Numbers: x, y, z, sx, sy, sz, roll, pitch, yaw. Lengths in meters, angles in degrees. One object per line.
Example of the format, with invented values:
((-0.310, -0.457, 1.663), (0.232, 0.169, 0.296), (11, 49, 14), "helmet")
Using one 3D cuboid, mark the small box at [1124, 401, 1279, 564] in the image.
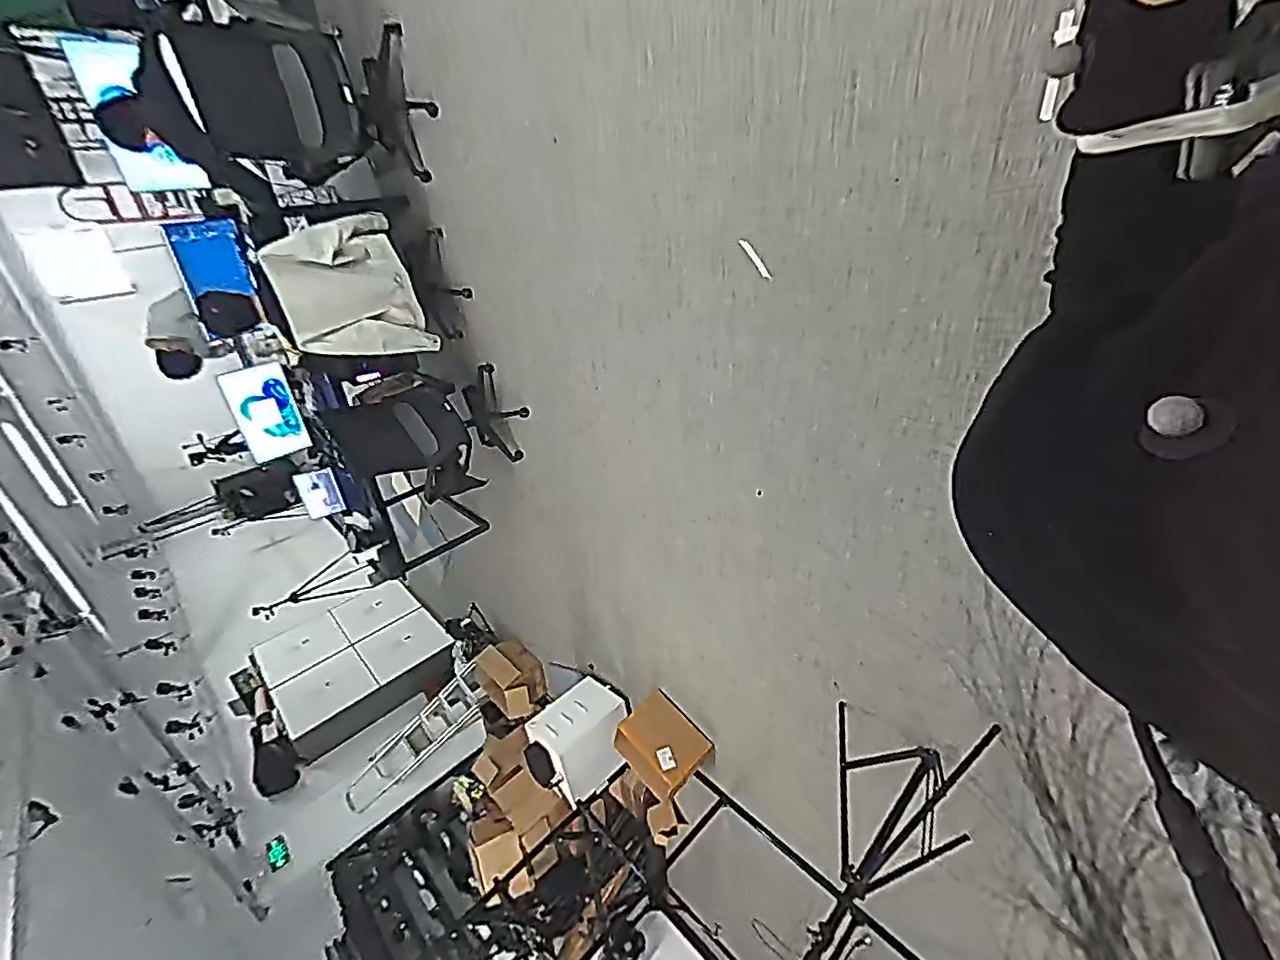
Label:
((0.668, 0.033, 0.580), (0.168, 0.176, 0.179), (27, 133, 38), "small box")
